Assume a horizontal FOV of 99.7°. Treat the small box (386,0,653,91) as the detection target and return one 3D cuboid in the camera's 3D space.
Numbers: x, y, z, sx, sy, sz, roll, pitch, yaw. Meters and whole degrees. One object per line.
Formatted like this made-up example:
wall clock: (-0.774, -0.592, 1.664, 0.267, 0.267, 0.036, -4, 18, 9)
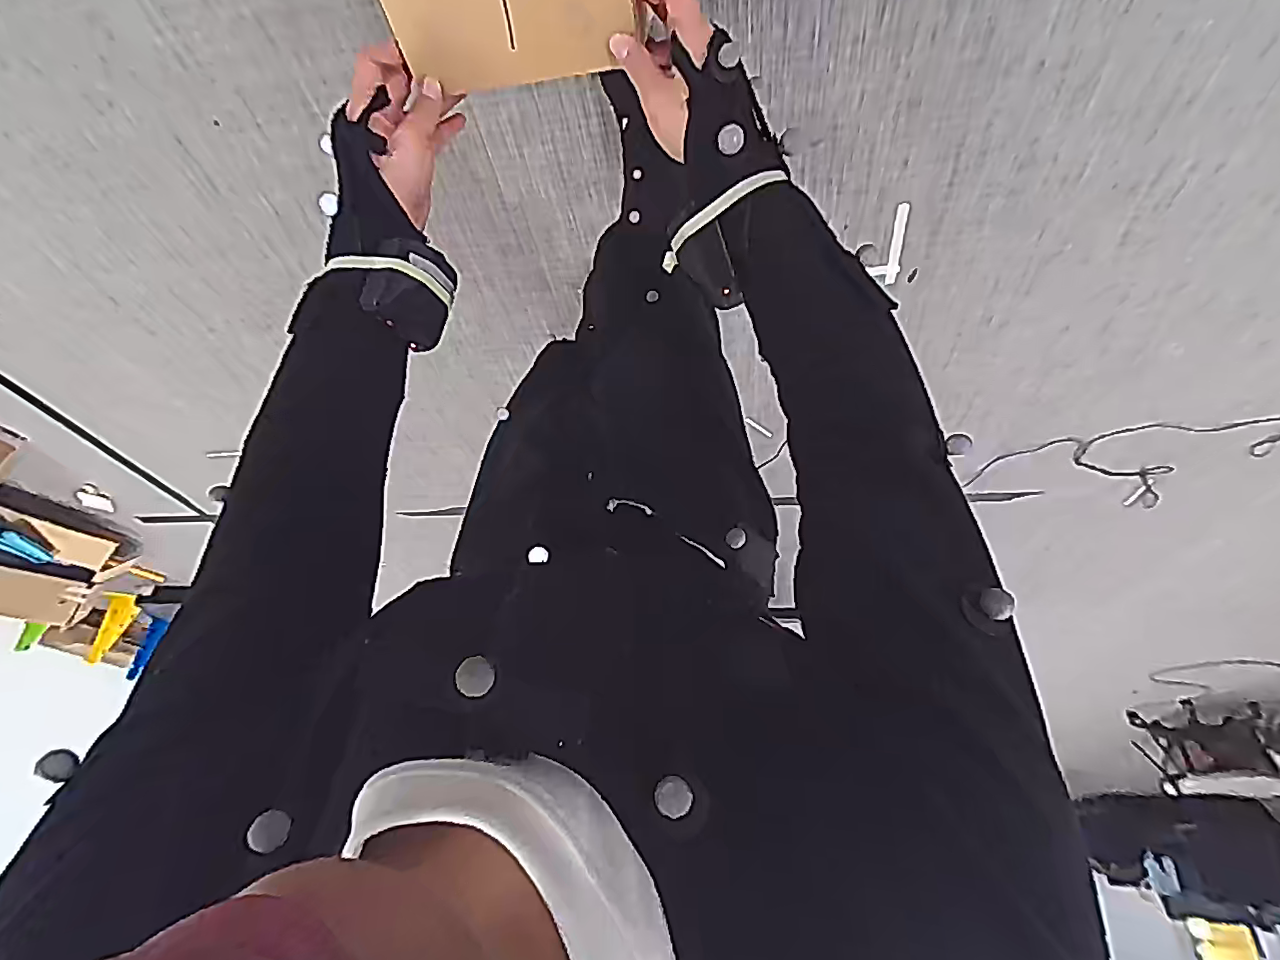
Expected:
small box: (-0.084, -0.402, 0.362, 0.168, 0.176, 0.179, -1, 144, 10)
